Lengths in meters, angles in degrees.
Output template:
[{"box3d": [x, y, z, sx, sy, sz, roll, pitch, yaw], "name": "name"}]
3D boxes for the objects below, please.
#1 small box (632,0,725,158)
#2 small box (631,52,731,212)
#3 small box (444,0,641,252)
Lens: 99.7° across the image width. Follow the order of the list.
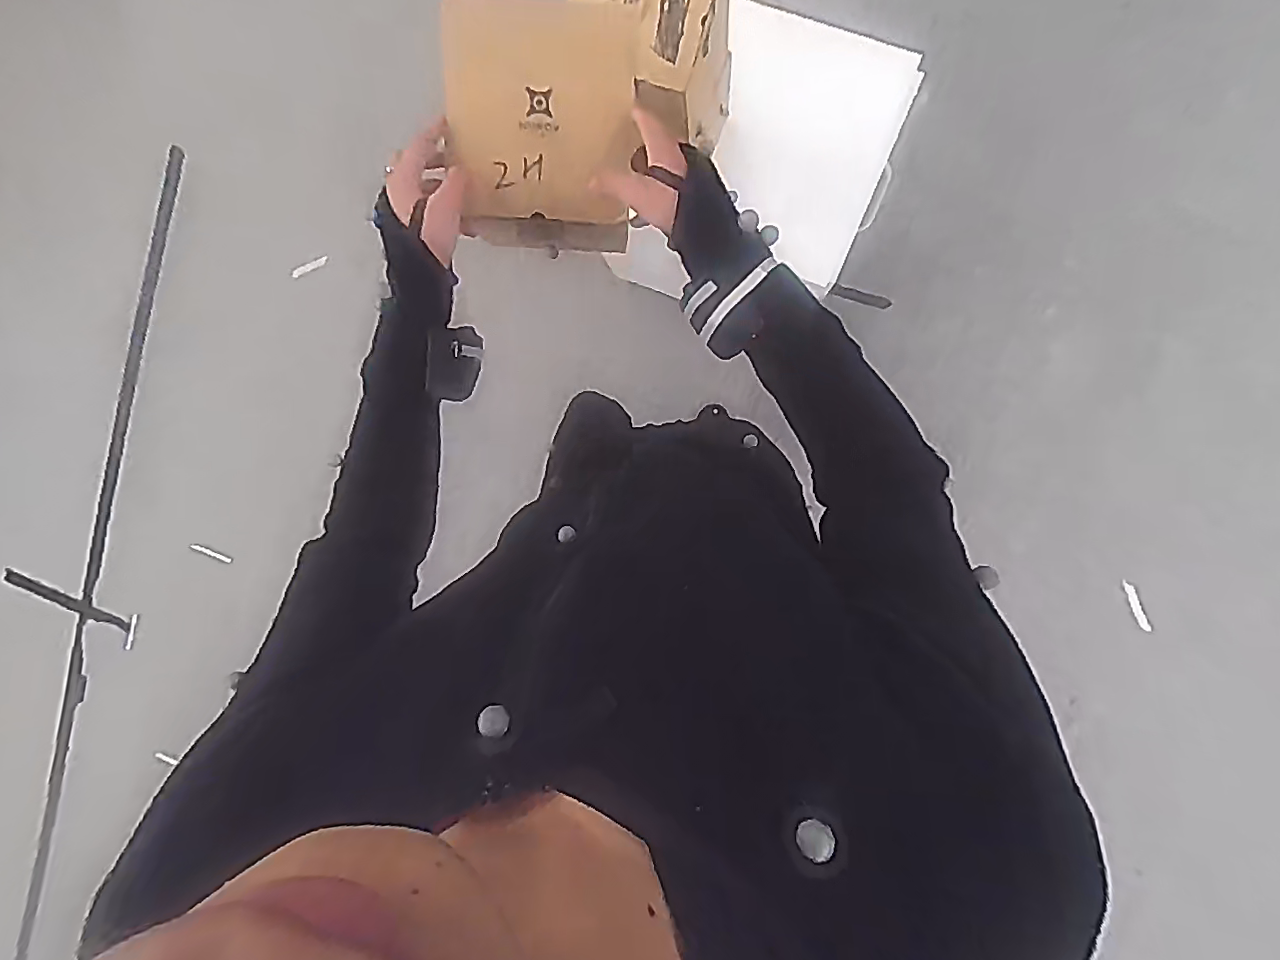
[{"box3d": [0.008, -0.559, 0.712, 0.179, 0.176, 0.168, 19, 97, 7], "name": "small box"}, {"box3d": [0.034, -0.573, 0.873, 0.168, 0.176, 0.179, 23, 98, 5], "name": "small box"}, {"box3d": [-0.089, -0.341, 0.544, 0.168, 0.176, 0.179, 3, 105, -3], "name": "small box"}]
